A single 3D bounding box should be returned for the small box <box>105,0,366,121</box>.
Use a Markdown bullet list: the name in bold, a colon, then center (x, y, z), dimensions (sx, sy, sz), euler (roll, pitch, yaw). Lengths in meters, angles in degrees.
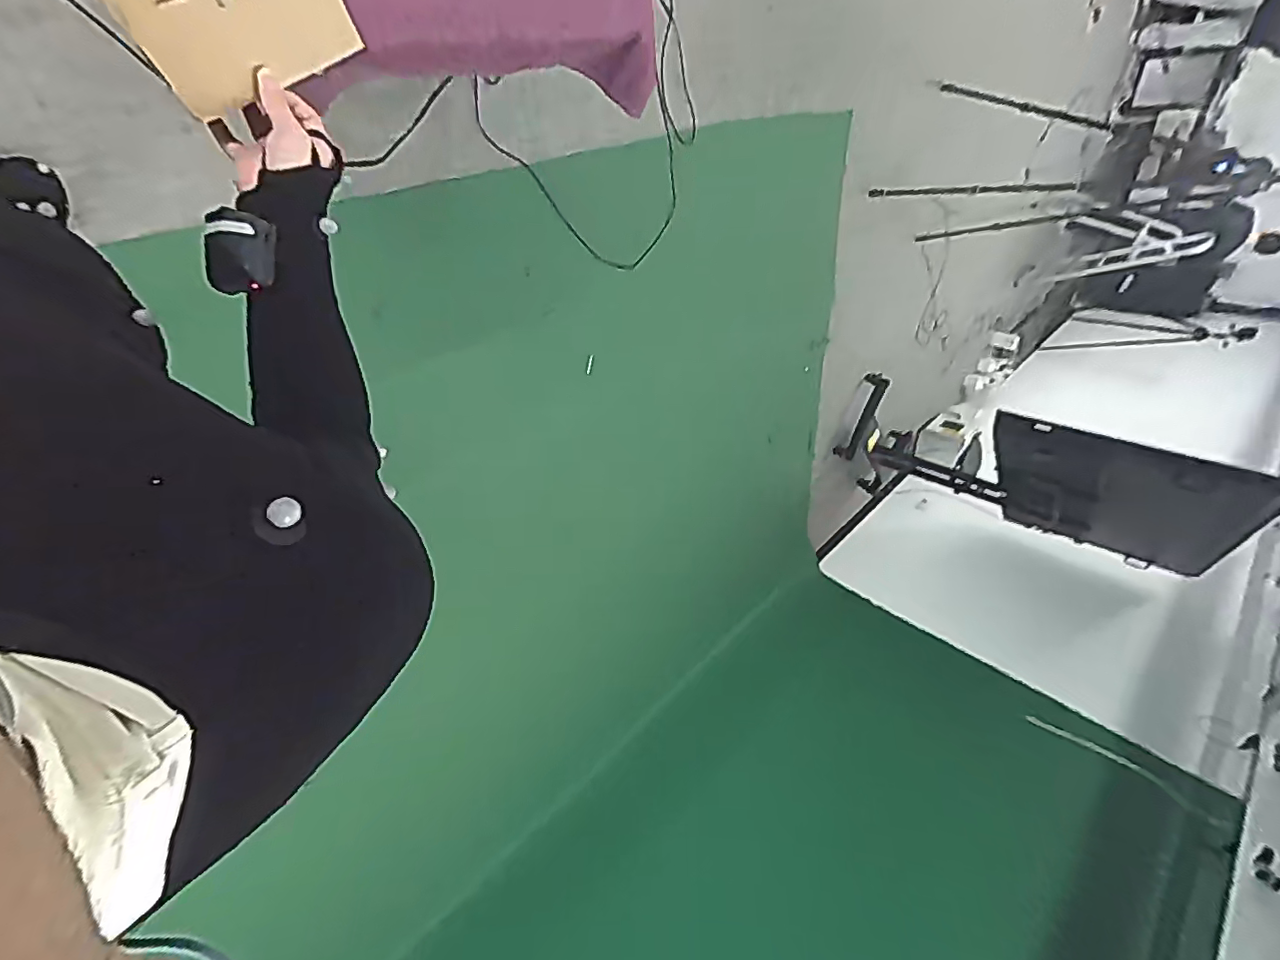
- **small box**: center (-0.394, -0.469, 0.480), dimensions (0.179, 0.176, 0.168), euler (-36, 152, -12)
